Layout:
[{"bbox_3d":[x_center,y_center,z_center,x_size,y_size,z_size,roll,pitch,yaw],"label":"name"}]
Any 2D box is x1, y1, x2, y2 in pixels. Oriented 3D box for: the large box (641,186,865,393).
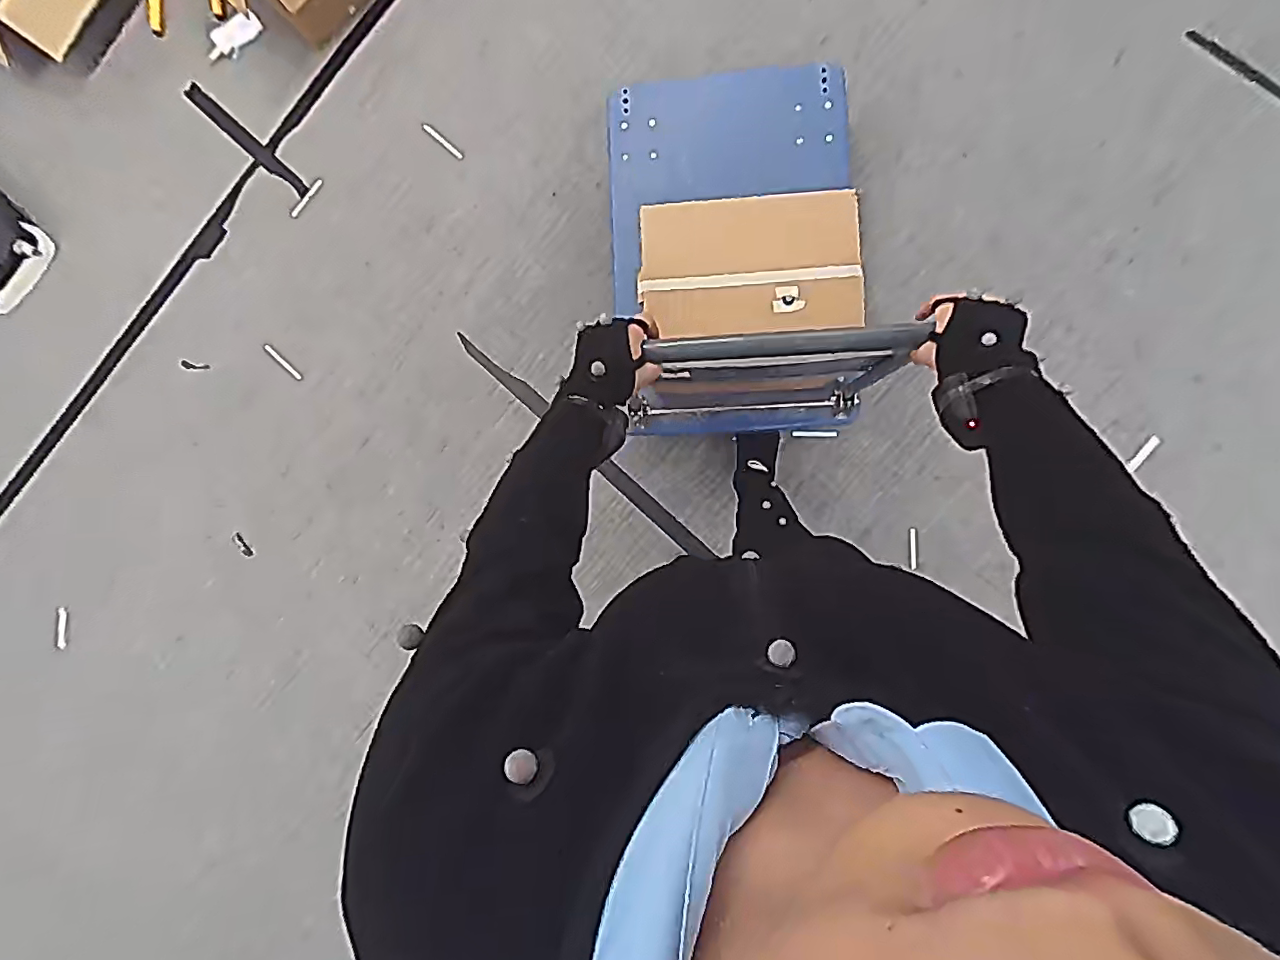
[{"bbox_3d":[0.218,-0.378,1.160,0.408,0.320,0.320,-3,89,4],"label":"large box"}]
